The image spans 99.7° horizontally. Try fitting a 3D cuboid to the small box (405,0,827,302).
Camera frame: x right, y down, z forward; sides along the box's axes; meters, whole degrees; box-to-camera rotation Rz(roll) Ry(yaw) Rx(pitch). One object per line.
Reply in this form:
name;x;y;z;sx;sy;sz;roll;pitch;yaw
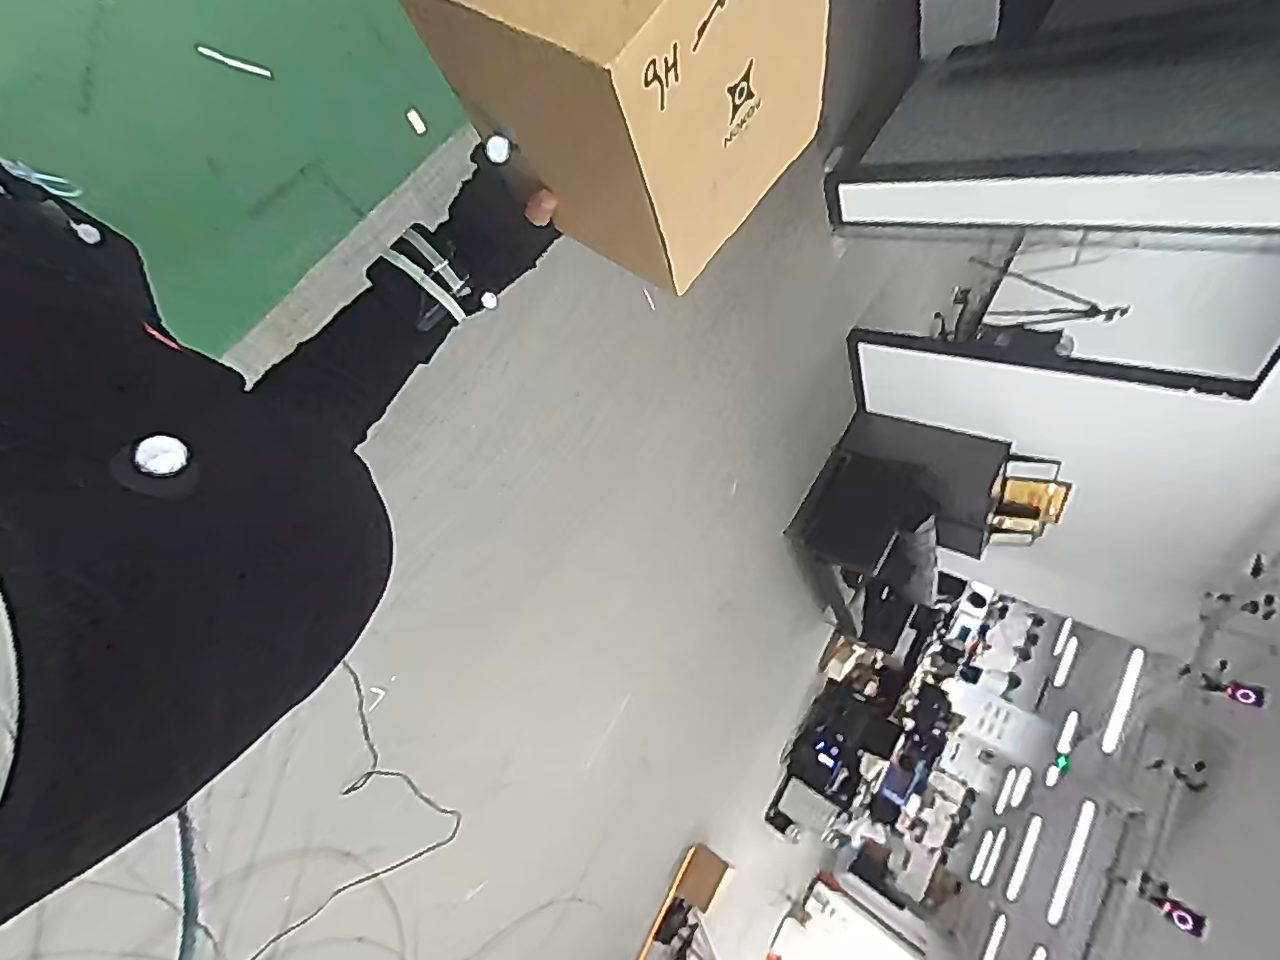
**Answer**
small box;-0.004;-0.258;0.344;0.168;0.176;0.179;-52;161;-4
